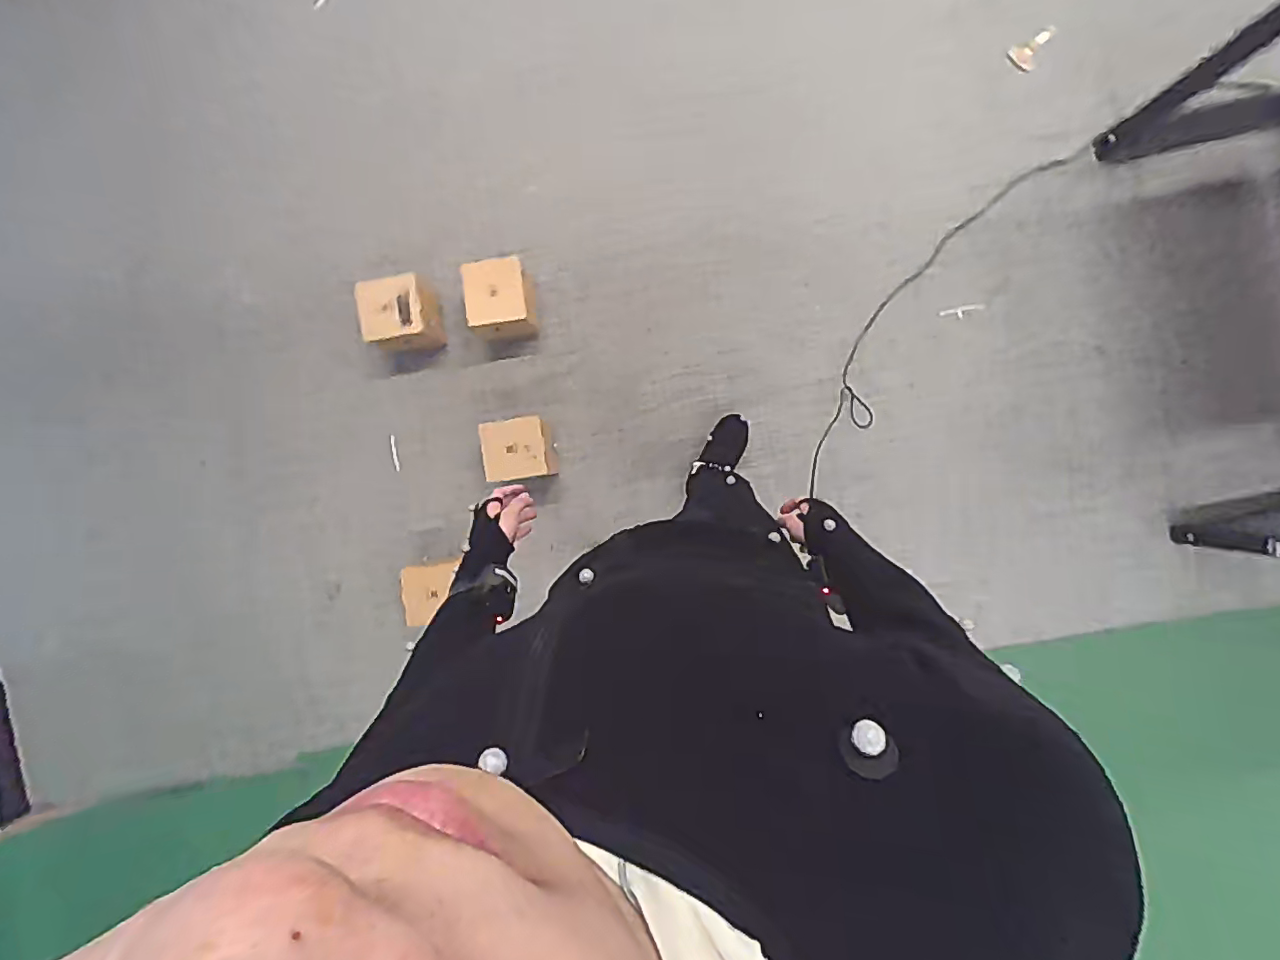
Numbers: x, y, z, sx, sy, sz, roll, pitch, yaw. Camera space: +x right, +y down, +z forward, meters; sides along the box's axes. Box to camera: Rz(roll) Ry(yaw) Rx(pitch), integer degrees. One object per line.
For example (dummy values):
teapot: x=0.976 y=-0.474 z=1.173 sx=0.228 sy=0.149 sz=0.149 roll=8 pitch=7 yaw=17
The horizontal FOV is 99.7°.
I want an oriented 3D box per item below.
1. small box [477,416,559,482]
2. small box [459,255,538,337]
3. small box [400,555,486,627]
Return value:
small box: x=-0.345 y=-0.086 z=1.554 sx=0.179 sy=0.176 sz=0.168 roll=-8 pitch=91 yaw=4
small box: x=-0.398 y=-0.517 z=1.548 sx=0.168 sy=0.176 sz=0.179 roll=-8 pitch=90 yaw=3
small box: x=-0.571 y=0.319 z=1.580 sx=0.179 sy=0.176 sz=0.168 roll=-7 pitch=92 yaw=3
